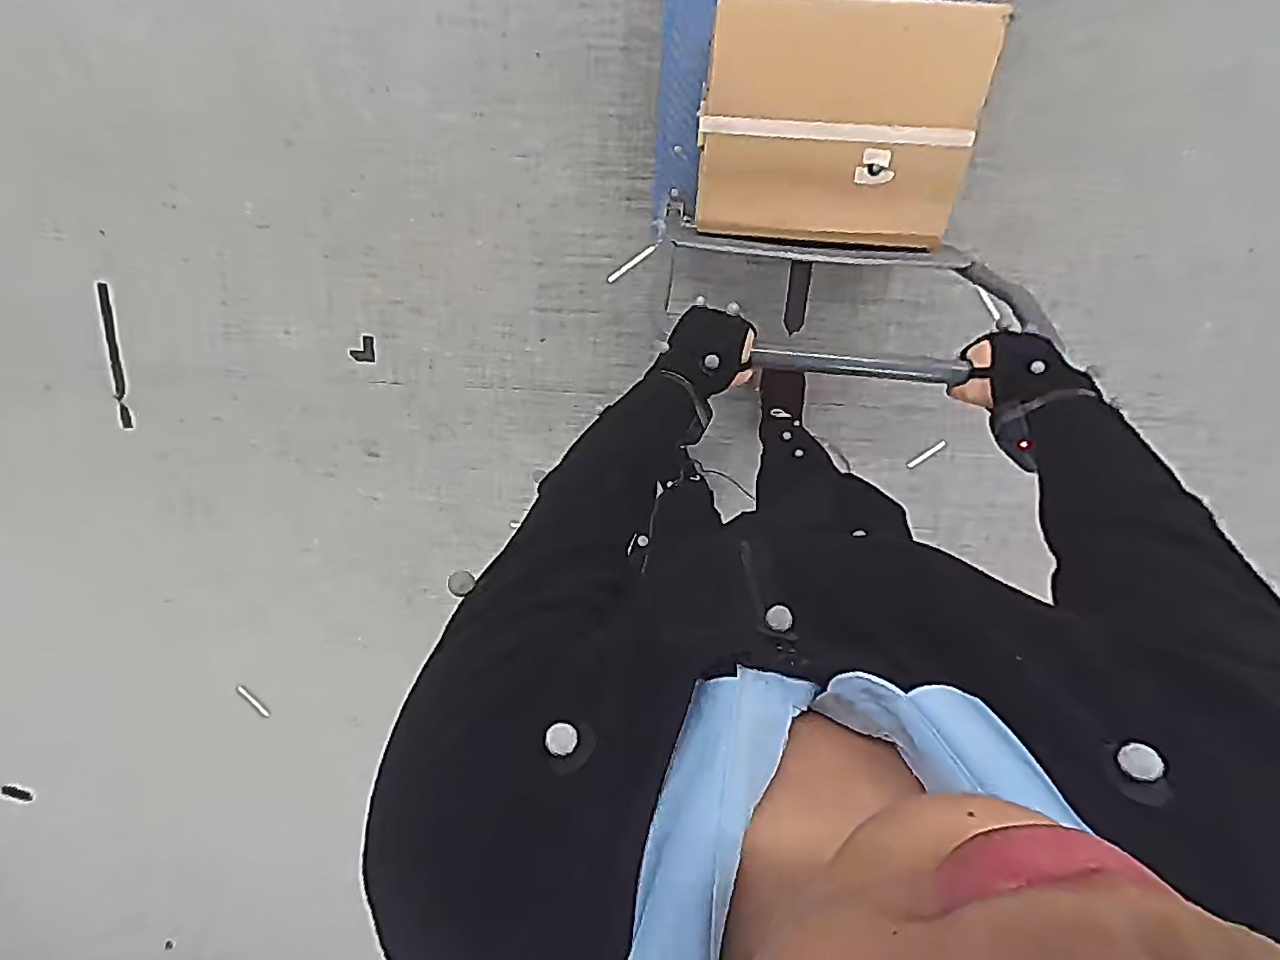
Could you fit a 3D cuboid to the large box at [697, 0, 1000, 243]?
[{"bbox_3d":[0.314,-0.618,0.970,0.408,0.320,0.320,4,121,2],"label":"large box"}]
